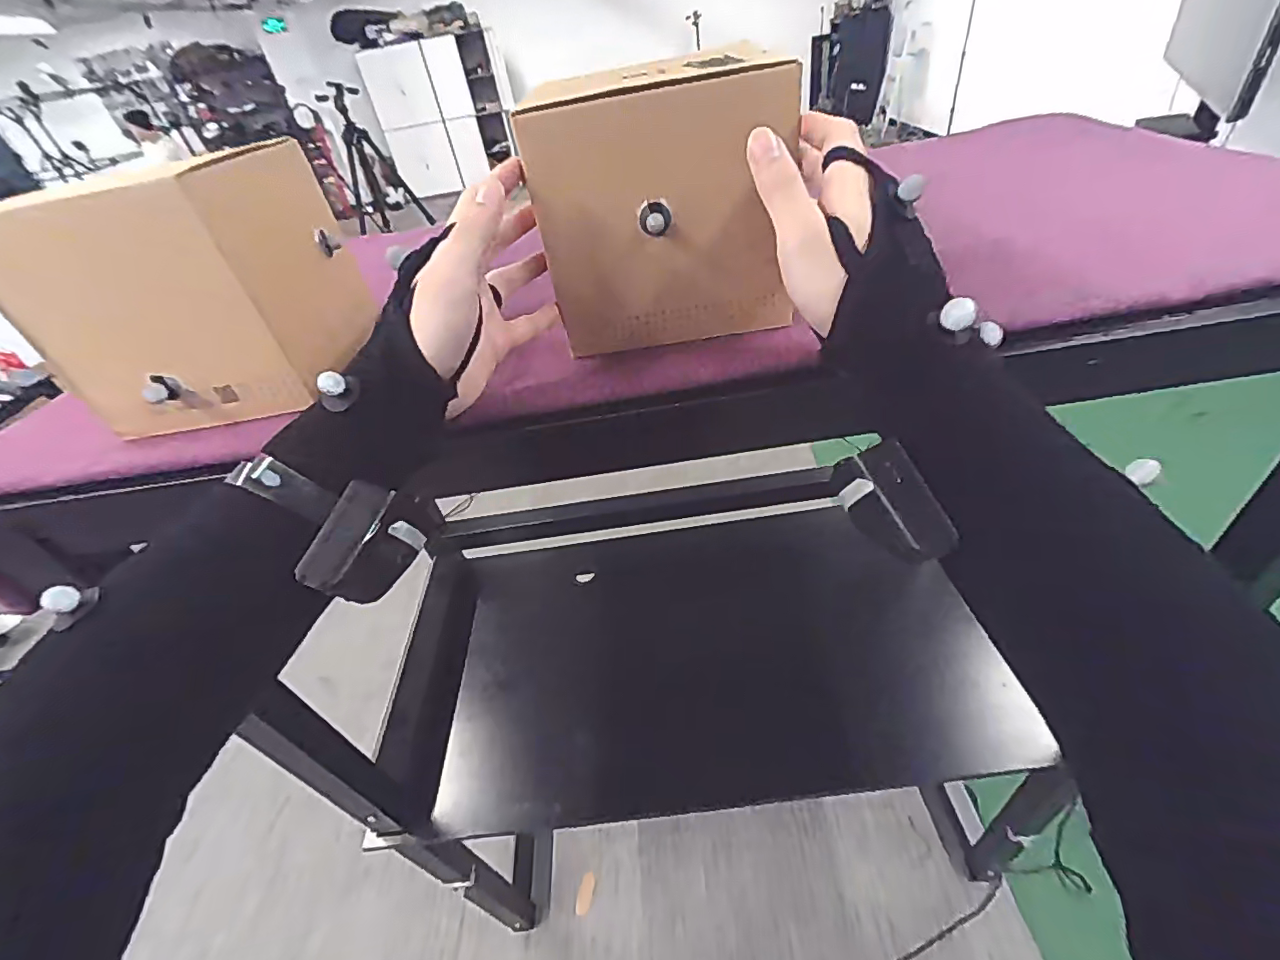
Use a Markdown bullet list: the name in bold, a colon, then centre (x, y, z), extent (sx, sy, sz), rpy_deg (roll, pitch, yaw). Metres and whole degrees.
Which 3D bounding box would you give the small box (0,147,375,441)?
- **small box**: centre (-0.349, -0.155, 0.445), extent (0.168, 0.176, 0.179), rpy_deg (-10, 39, 2)

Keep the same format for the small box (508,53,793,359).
- **small box**: centre (0.015, -0.217, 0.434), extent (0.179, 0.176, 0.168), rpy_deg (-8, 40, 5)
